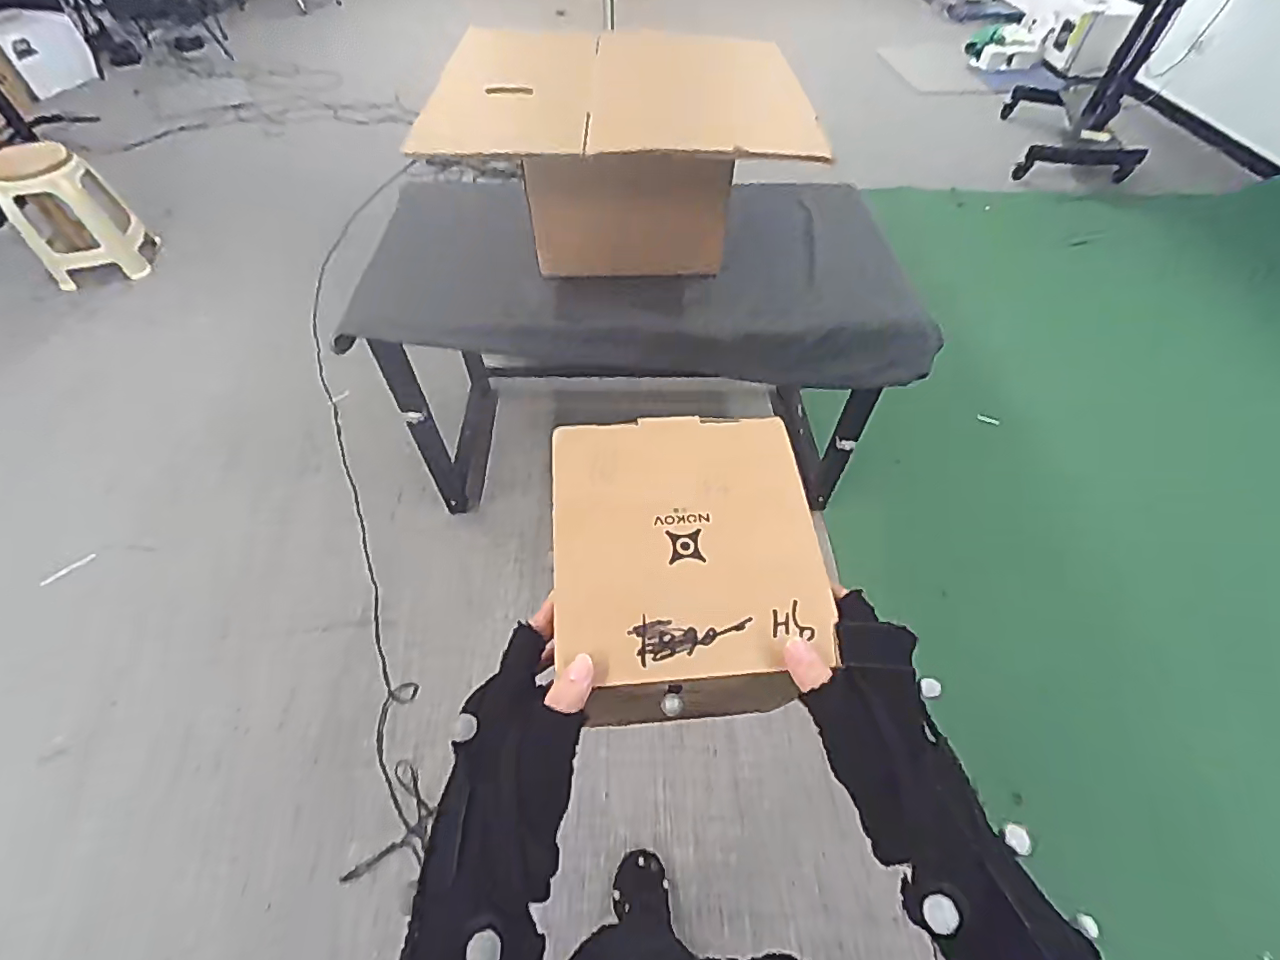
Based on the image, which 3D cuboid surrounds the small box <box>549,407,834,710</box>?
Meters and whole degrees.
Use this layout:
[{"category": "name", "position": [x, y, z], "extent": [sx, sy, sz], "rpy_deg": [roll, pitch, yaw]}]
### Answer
[{"category": "small box", "position": [0.022, 0.065, 0.415], "extent": [0.168, 0.176, 0.179], "rpy_deg": [-4, 59, -3]}]
